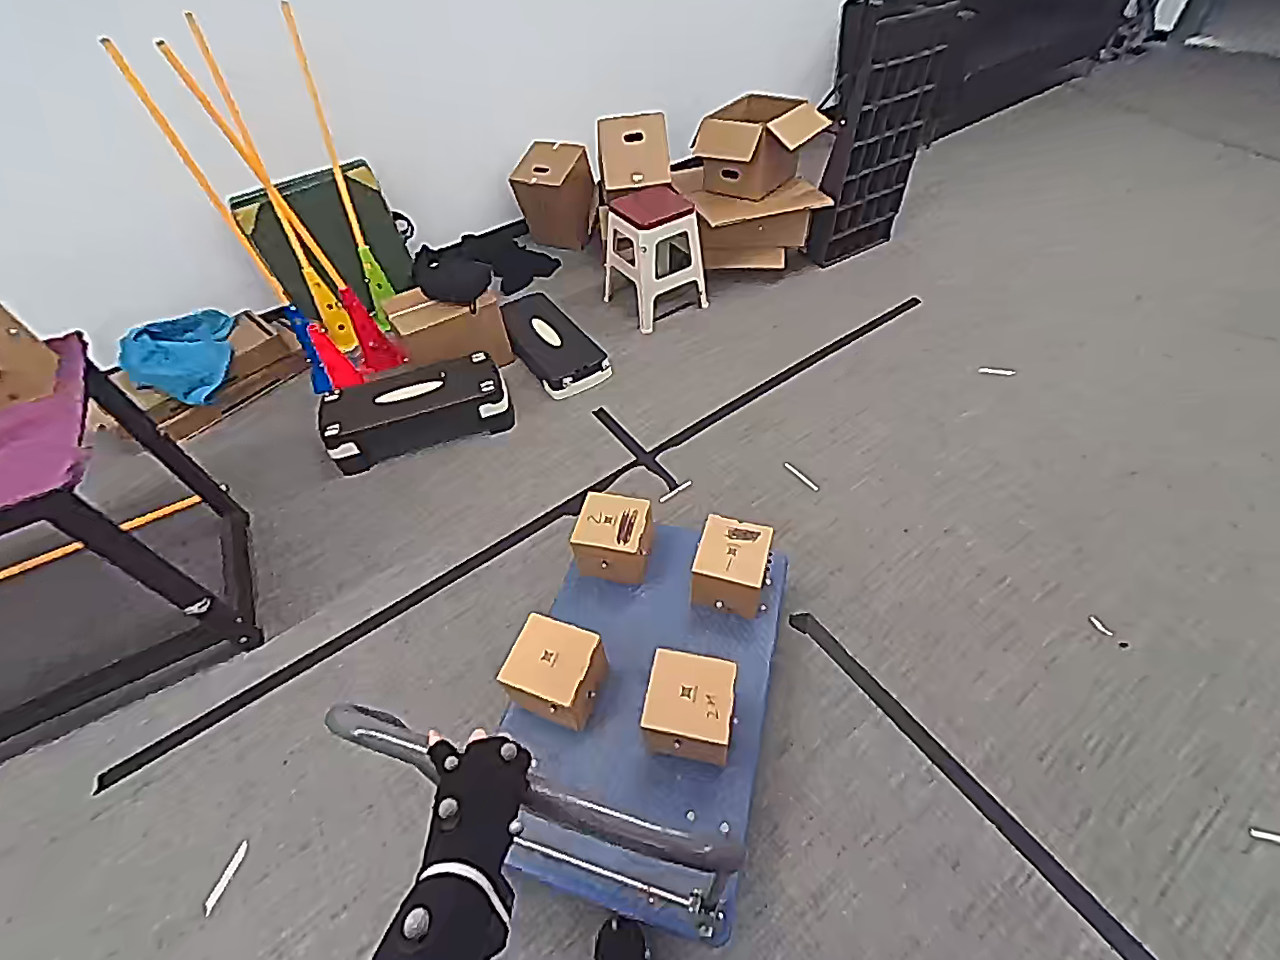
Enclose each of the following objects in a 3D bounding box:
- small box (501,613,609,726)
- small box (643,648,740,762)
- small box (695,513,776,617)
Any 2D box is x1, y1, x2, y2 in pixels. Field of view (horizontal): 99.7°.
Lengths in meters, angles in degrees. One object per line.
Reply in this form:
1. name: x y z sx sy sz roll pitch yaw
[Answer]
1. small box: -0.183 0.434 1.226 0.179 0.176 0.168 14 52 15
2. small box: 0.114 0.483 1.155 0.179 0.176 0.168 7 51 12
3. small box: 0.237 0.216 1.368 0.168 0.176 0.179 12 53 15
